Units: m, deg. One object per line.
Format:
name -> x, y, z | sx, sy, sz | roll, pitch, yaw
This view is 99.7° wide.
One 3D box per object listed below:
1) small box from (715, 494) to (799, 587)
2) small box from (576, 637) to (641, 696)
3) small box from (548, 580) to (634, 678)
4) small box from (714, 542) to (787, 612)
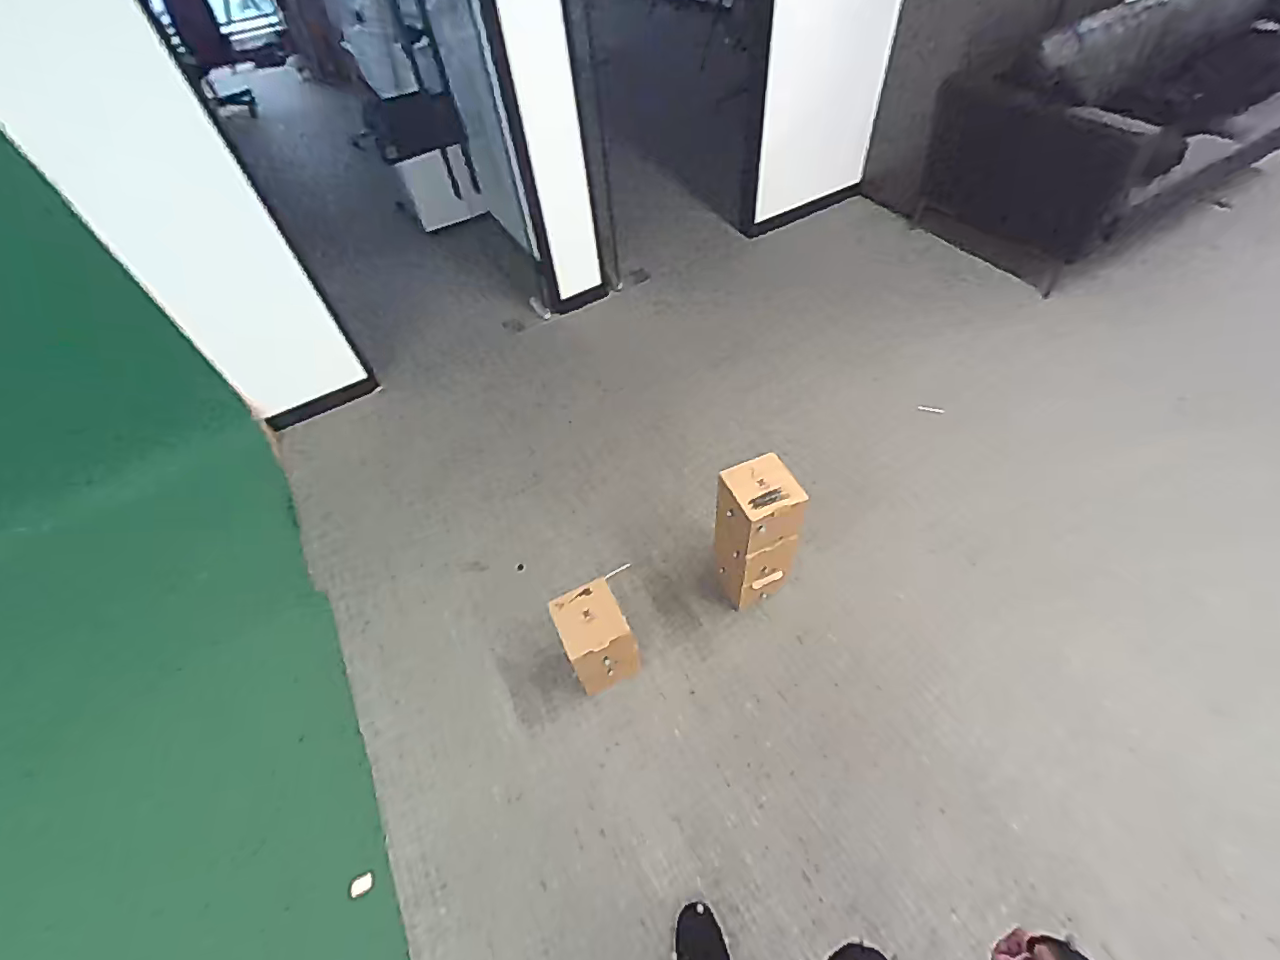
small box -> 0.329, 0.178, 1.565 | 0.168, 0.176, 0.179 | -22, 54, -12
small box -> -0.110, 0.498, 1.565 | 0.179, 0.176, 0.168 | -22, 54, -12
small box -> -0.125, 0.403, 1.433 | 0.168, 0.176, 0.179 | -23, 55, -12
small box -> 0.336, 0.281, 1.688 | 0.168, 0.176, 0.179 | -19, 54, -6
